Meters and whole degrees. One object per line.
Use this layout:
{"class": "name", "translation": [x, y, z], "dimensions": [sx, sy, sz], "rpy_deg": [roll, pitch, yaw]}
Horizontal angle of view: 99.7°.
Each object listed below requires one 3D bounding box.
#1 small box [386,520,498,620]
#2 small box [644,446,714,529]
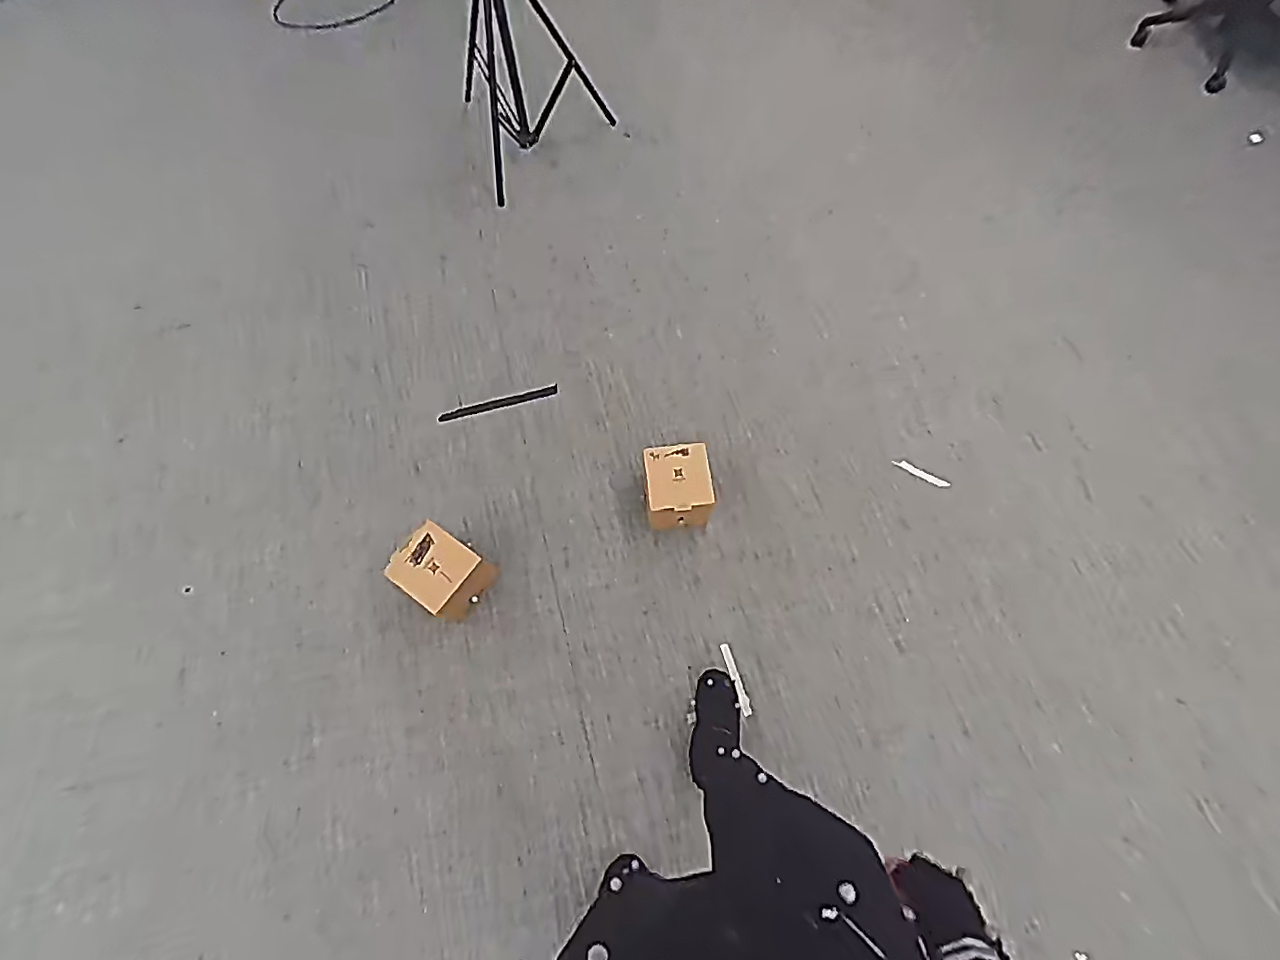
{"class": "small box", "translation": [-0.491, 0.235, 1.365], "dimensions": [0.179, 0.176, 0.168], "rpy_deg": [34, 72, 12]}
{"class": "small box", "translation": [0.100, 0.027, 1.449], "dimensions": [0.168, 0.176, 0.179], "rpy_deg": [-5, 68, -2]}
